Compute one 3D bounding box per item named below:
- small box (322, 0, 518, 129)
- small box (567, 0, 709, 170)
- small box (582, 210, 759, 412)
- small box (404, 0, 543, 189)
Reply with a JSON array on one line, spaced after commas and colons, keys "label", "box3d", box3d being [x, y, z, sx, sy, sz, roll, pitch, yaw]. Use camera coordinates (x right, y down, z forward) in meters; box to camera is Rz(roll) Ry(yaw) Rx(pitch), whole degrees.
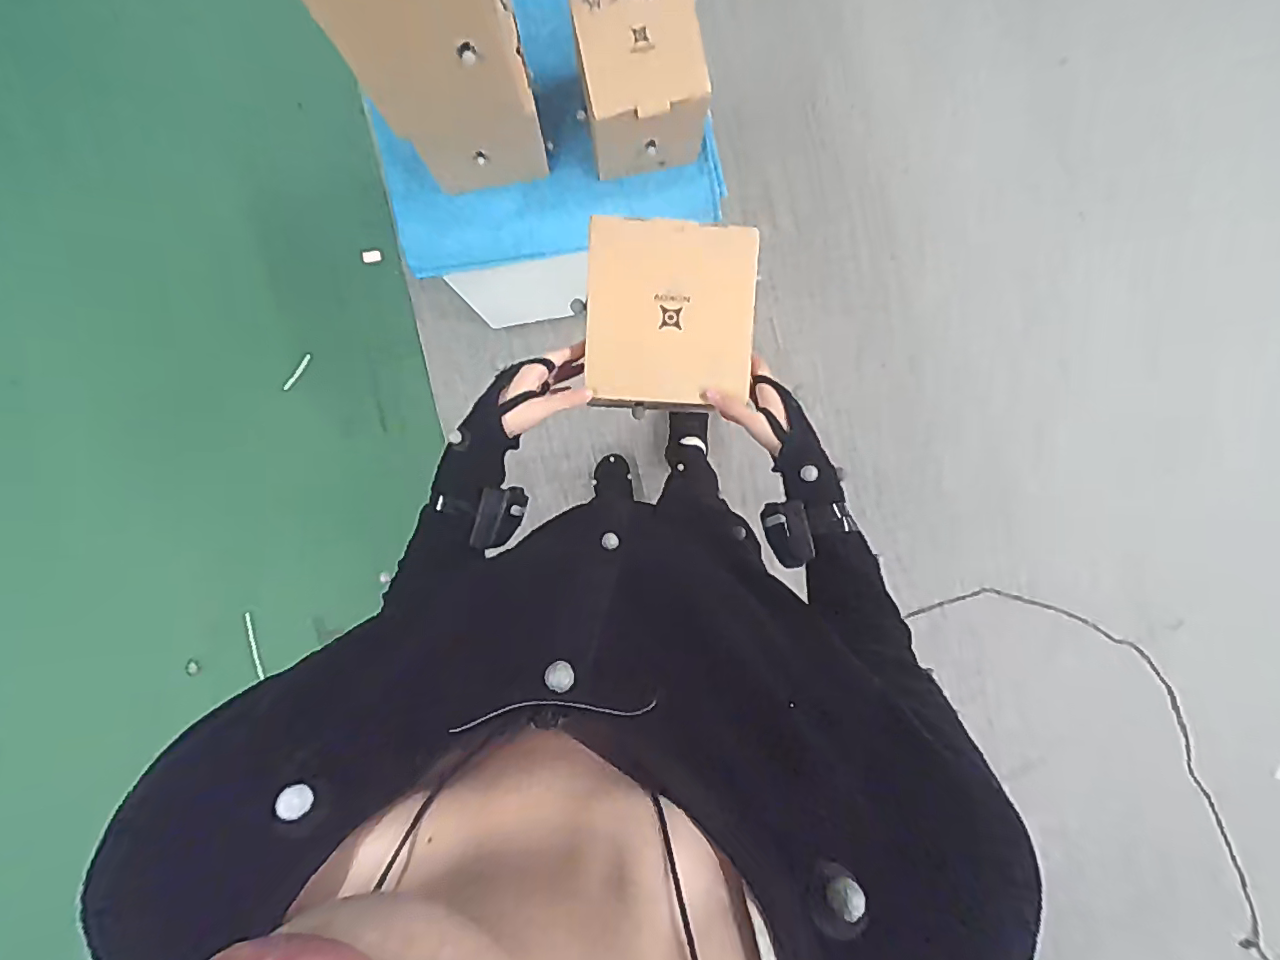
[{"label": "small box", "box3d": [-0.247, -0.545, 0.622, 0.179, 0.176, 0.168, -12, 92, -2]}, {"label": "small box", "box3d": [-0.004, -0.586, 0.795, 0.168, 0.176, 0.179, -12, 93, -2]}, {"label": "small box", "box3d": [0.024, -0.169, 0.596, 0.168, 0.176, 0.179, 2, 92, -5]}, {"label": "small box", "box3d": [-0.244, -0.555, 0.786, 0.179, 0.176, 0.168, -12, 92, -2]}]
